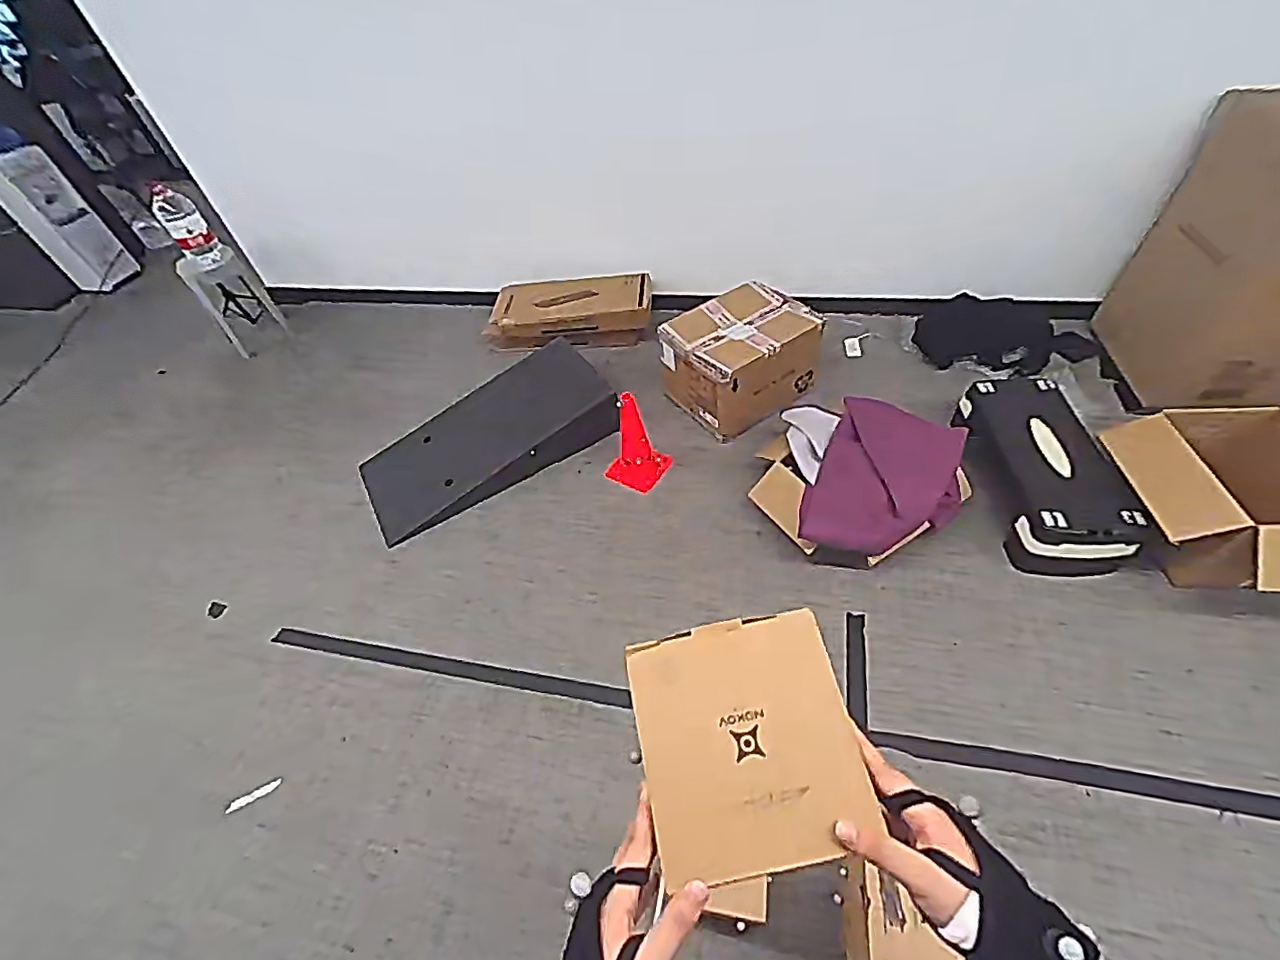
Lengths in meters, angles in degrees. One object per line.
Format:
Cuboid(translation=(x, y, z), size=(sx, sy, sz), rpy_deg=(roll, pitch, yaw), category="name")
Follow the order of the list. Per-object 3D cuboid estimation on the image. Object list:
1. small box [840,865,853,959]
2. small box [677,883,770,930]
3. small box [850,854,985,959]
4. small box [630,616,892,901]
Cuboid(translation=(0.497, 0.864, 1.068), size=(0.168, 0.176, 0.179), rpy_deg=(7, 51, 14), category="small box")
Cuboid(translation=(0.179, 0.828, 1.141), size=(0.179, 0.176, 0.168), rpy_deg=(4, 49, 12), category="small box")
Cuboid(translation=(0.467, 0.766, 0.936), size=(0.179, 0.176, 0.168), rpy_deg=(6, 50, 12), category="small box")
Cuboid(translation=(0.089, 0.242, 0.488), size=(0.168, 0.176, 0.179), rpy_deg=(-12, 63, 0), category="small box")
